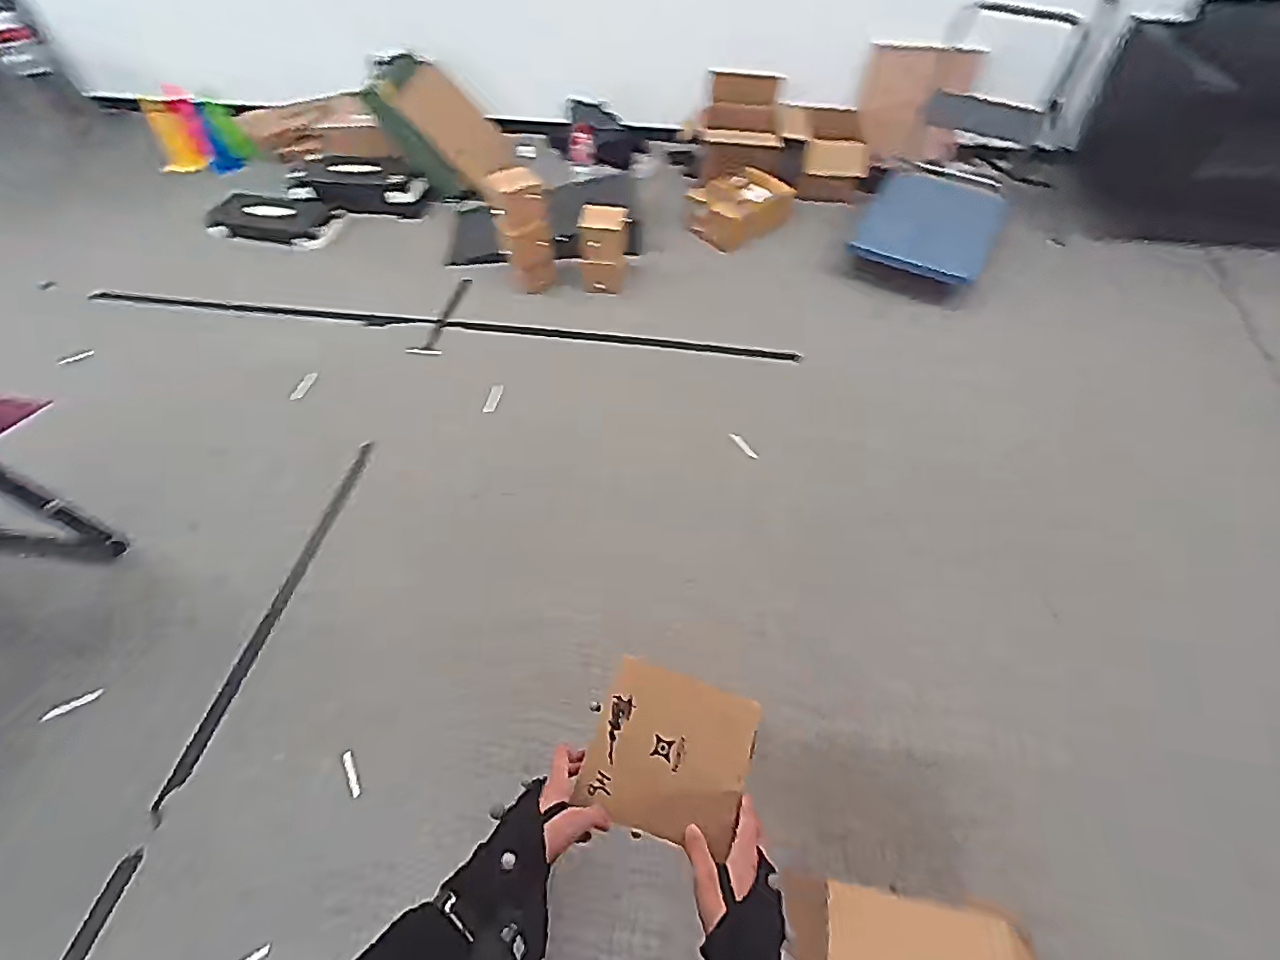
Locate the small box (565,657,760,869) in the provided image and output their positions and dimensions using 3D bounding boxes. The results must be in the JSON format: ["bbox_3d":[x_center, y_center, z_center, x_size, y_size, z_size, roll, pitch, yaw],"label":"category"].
[{"bbox_3d":[0.024,0.332,0.655,0.179,0.176,0.168,18,64,5],"label":"small box"}]
